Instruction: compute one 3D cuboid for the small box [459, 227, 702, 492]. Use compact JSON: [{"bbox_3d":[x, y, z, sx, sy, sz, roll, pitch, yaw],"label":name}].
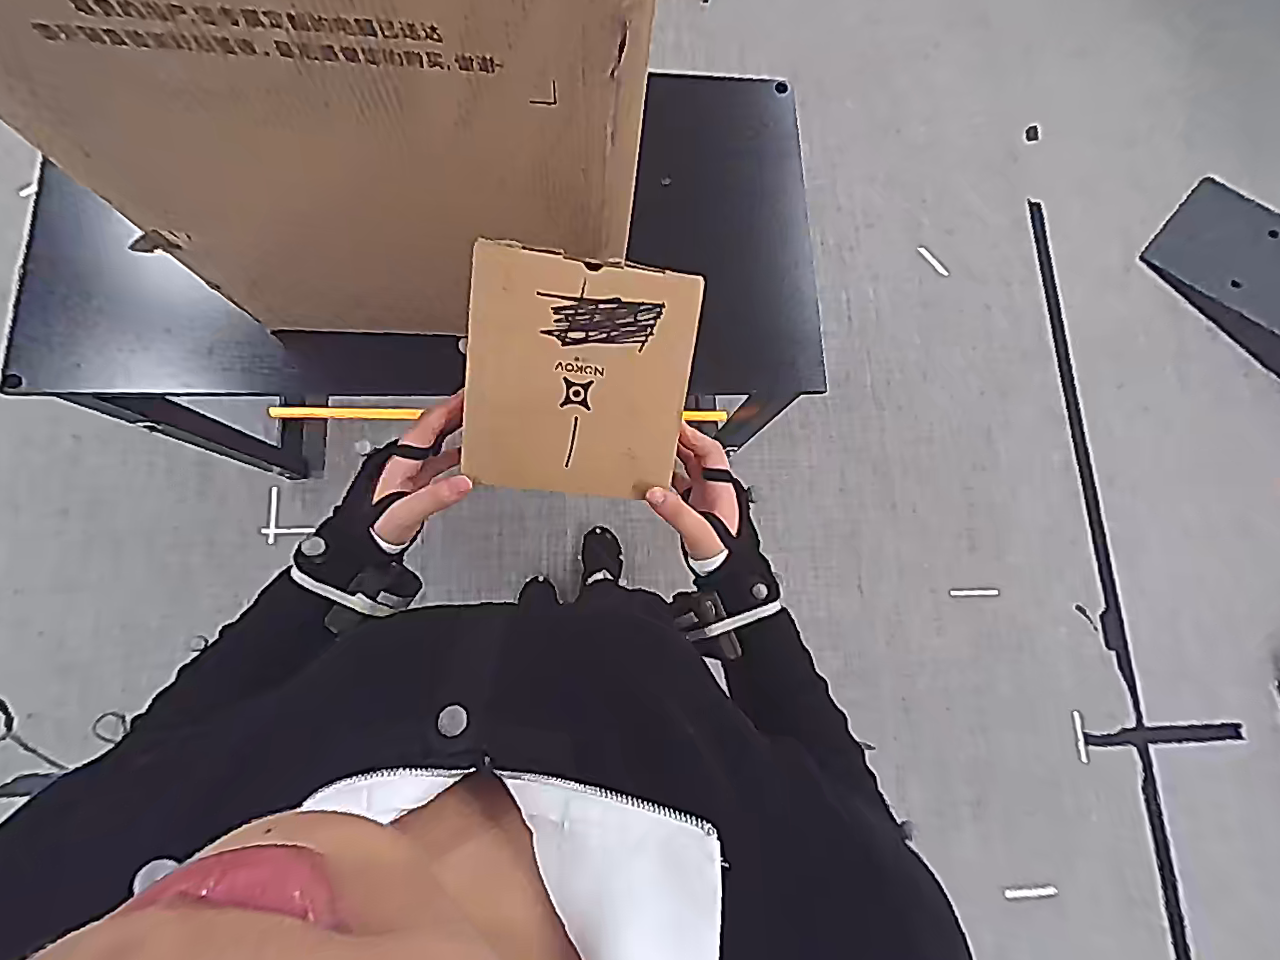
[{"bbox_3d":[-0.057,-0.101,0.477,0.168,0.176,0.179,6,104,-9],"label":"small box"}]
